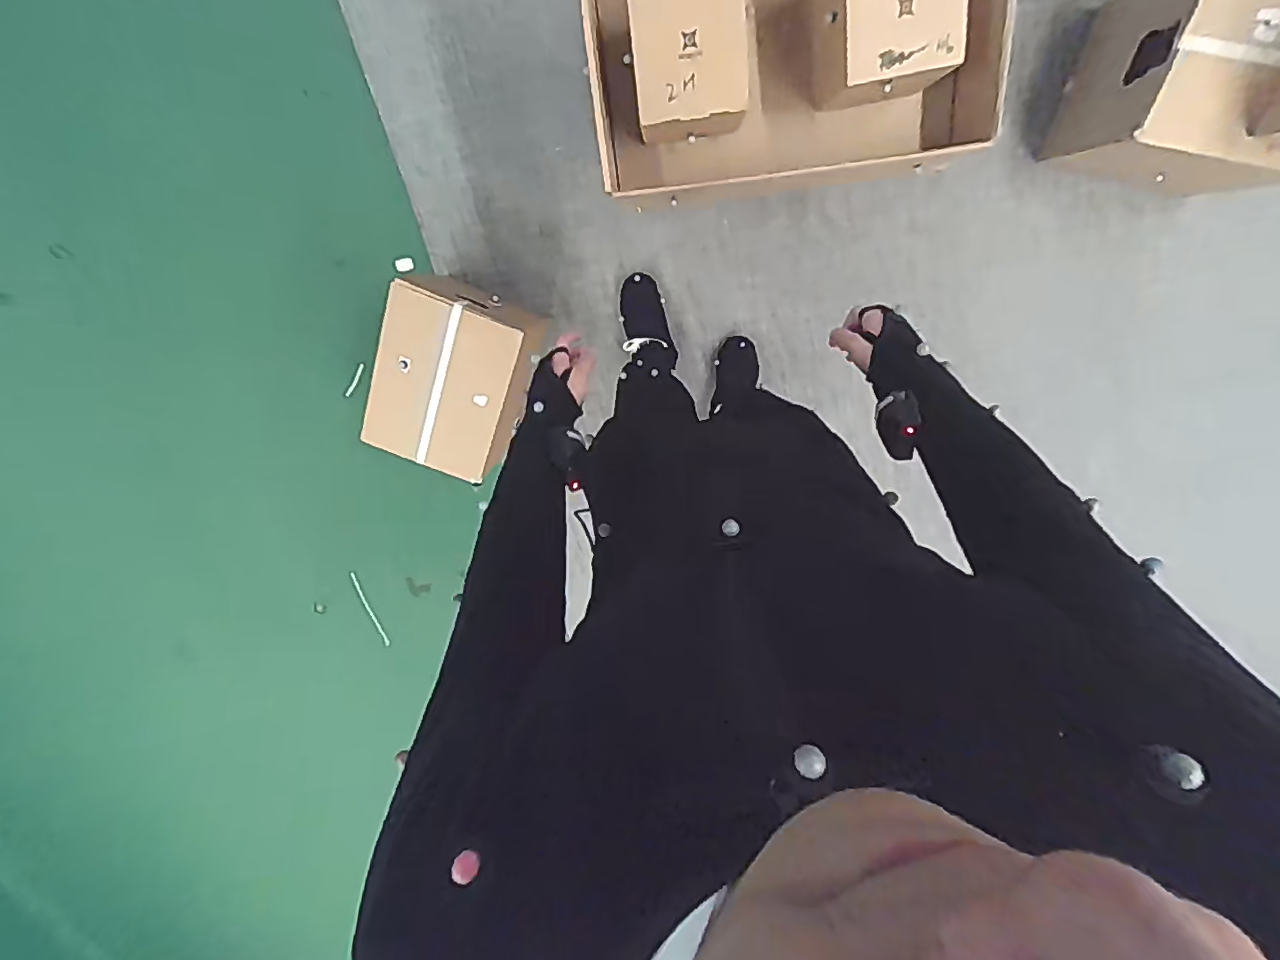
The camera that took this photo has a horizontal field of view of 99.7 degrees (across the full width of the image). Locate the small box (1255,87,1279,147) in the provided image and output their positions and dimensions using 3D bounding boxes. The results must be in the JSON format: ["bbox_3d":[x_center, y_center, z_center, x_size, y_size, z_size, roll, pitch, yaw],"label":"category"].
[{"bbox_3d":[1.233,-0.667,0.909,0.168,0.176,0.179,16,114,-3],"label":"small box"}]

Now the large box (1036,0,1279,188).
[{"bbox_3d":[1.163,-0.814,1.116,0.408,0.320,0.320,10,112,-1],"label":"large box"}]
